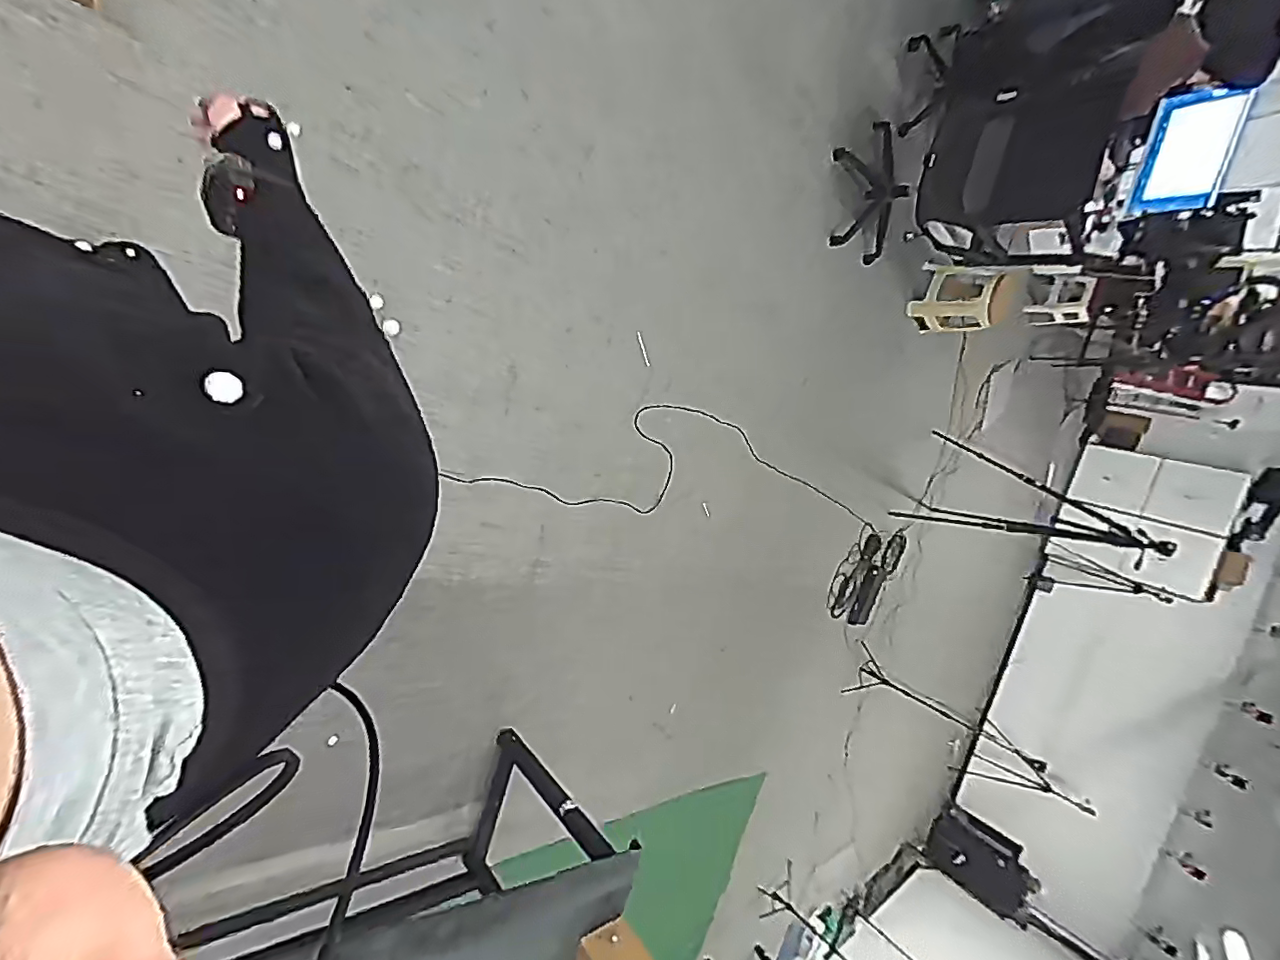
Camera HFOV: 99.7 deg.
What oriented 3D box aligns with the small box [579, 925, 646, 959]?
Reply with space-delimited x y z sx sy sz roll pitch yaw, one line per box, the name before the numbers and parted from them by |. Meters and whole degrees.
small box | -0.078 1.417 1.513 0.168 0.176 0.179 12 97 -45
